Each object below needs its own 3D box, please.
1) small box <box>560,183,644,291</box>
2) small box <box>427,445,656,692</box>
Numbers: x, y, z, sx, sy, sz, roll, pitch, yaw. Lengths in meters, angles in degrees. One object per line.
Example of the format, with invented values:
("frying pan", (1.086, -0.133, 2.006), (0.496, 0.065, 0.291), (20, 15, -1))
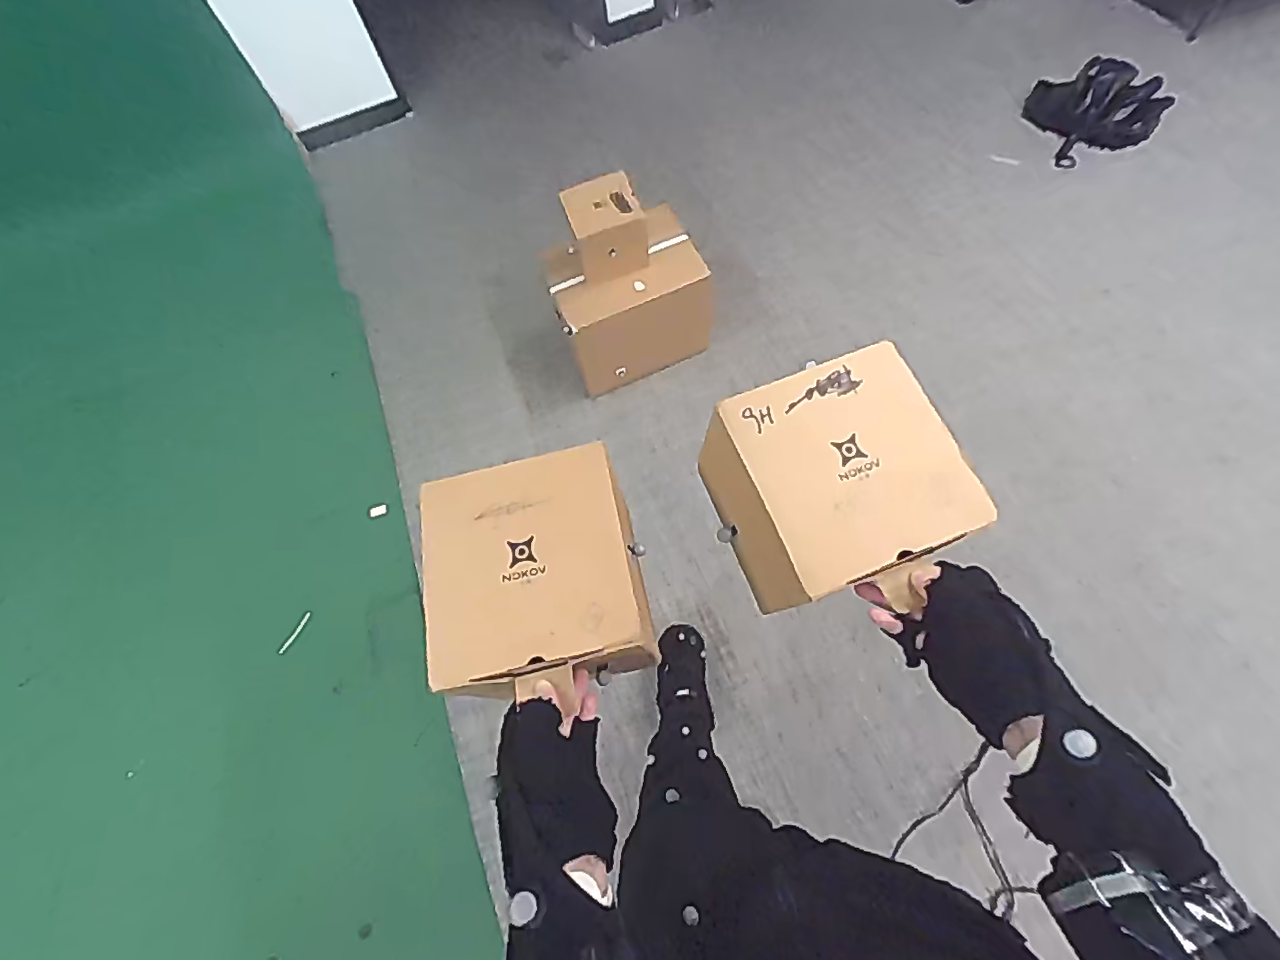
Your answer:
("small box", (-0.092, -0.620, 1.395), (0.179, 0.176, 0.168), (-17, 68, -3))
("small box", (-0.084, 0.096, 0.516), (0.168, 0.176, 0.179), (-14, 64, -1))
